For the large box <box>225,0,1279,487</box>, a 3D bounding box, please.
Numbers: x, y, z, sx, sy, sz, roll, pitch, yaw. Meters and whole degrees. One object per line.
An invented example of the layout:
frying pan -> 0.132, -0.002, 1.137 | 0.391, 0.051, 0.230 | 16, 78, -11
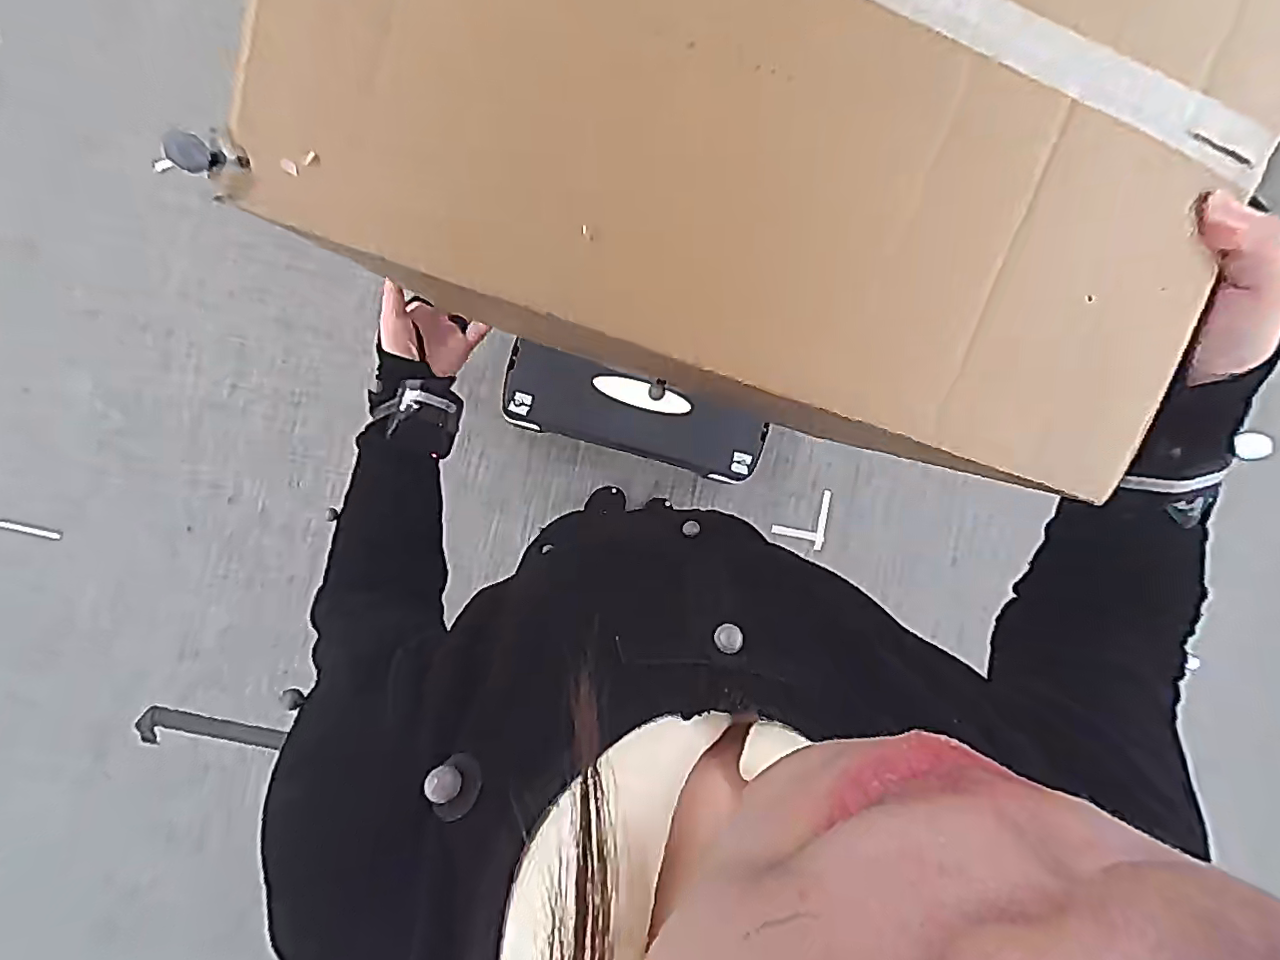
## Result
large box -> 0.065, -0.216, 0.350 | 0.408, 0.320, 0.320 | 16, 97, -8

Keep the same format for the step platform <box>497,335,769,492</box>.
step platform -> -0.014, -0.204, 1.405 | 0.684, 0.204, 0.286 | 20, 87, -4
